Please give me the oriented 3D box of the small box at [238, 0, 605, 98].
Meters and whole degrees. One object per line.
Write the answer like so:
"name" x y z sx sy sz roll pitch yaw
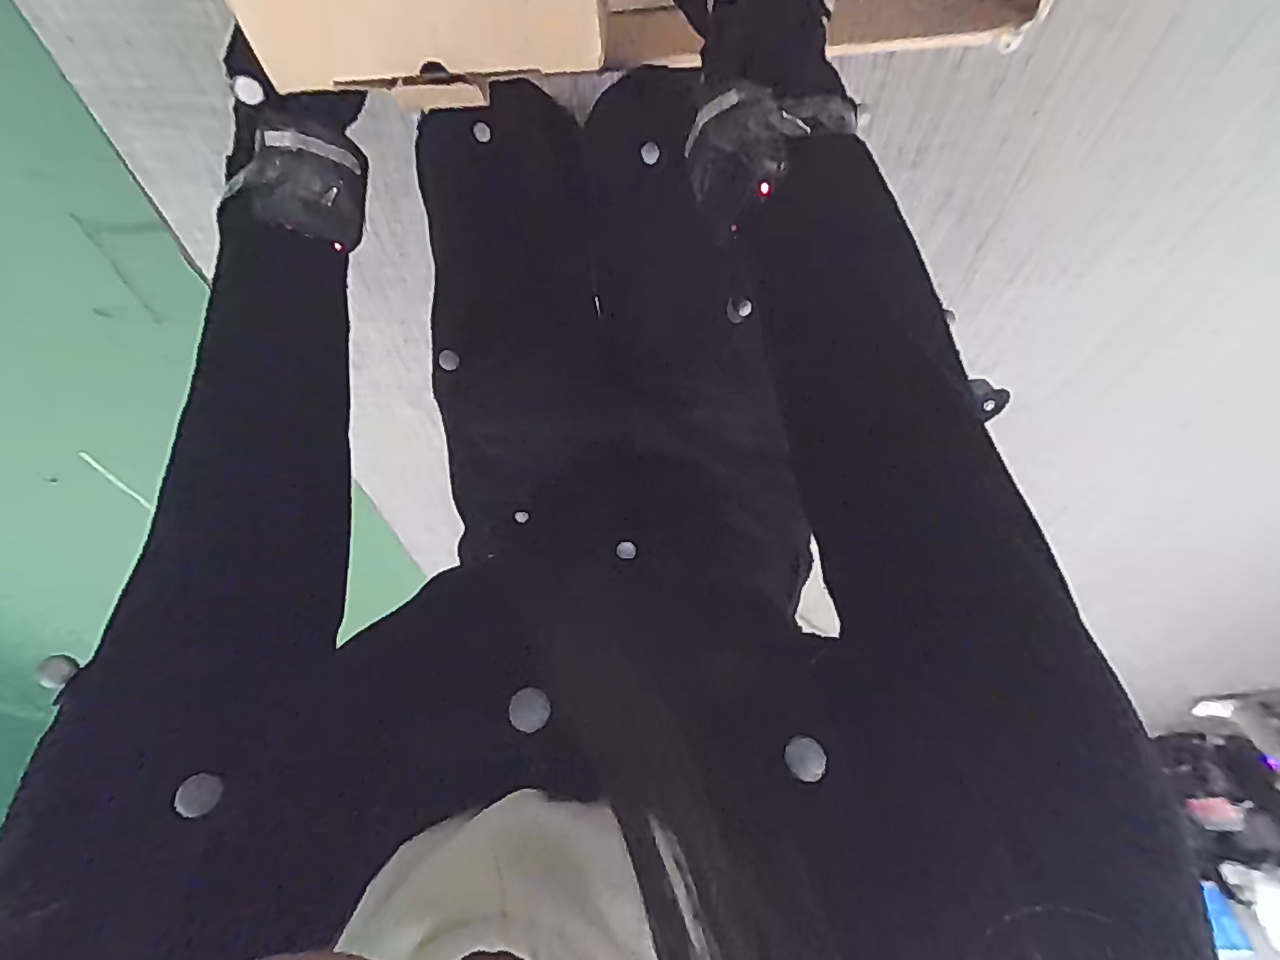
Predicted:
"small box" -0.104 -0.315 0.252 0.168 0.176 0.179 -1 144 4
